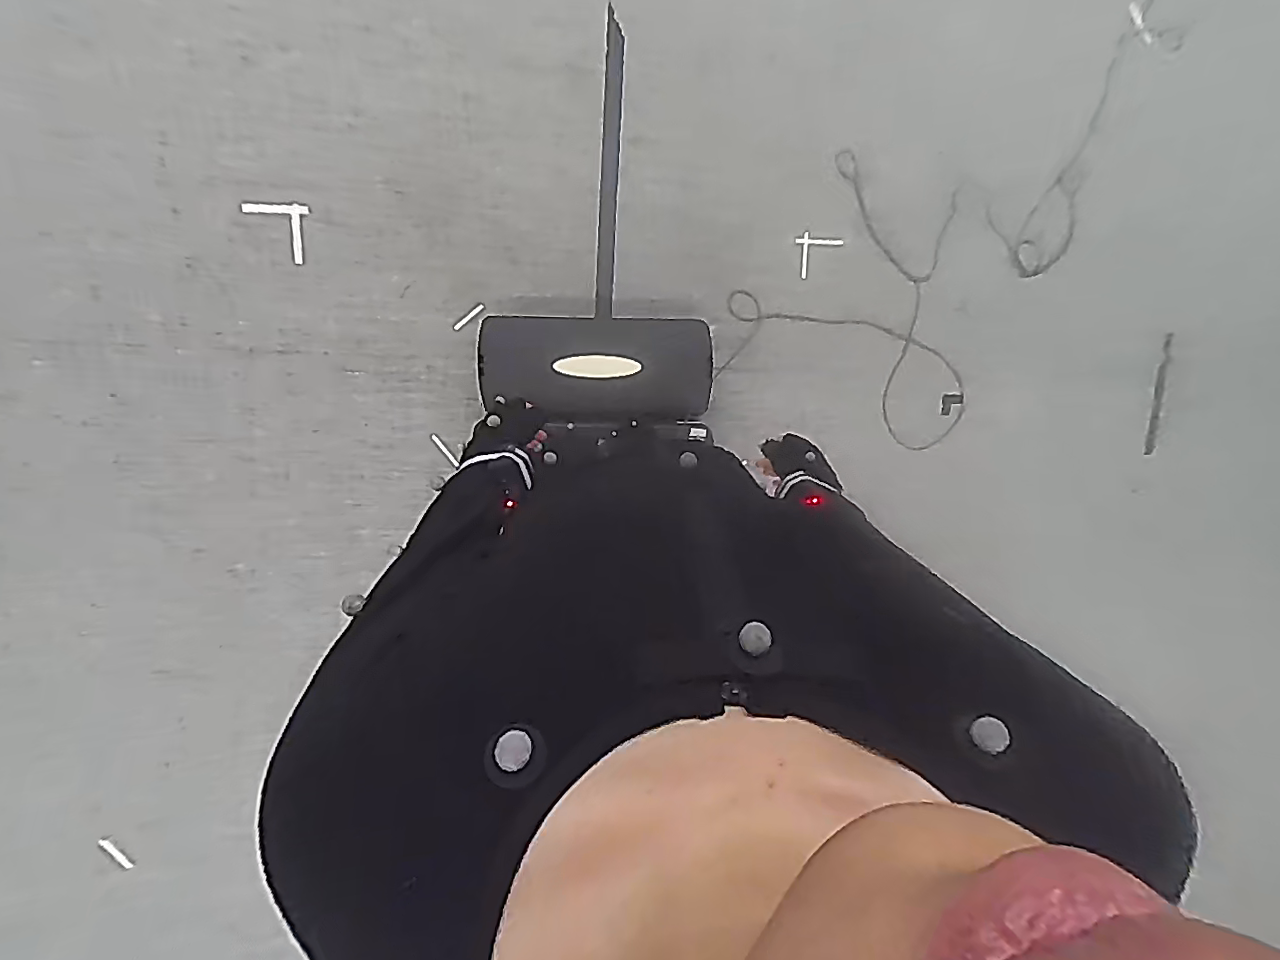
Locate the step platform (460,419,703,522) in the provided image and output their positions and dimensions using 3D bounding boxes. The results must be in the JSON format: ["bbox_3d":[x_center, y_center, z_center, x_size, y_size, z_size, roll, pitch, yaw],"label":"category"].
[{"bbox_3d":[-0.160,-0.029,1.556,0.684,0.204,0.286,0,96,-4],"label":"step platform"}]
